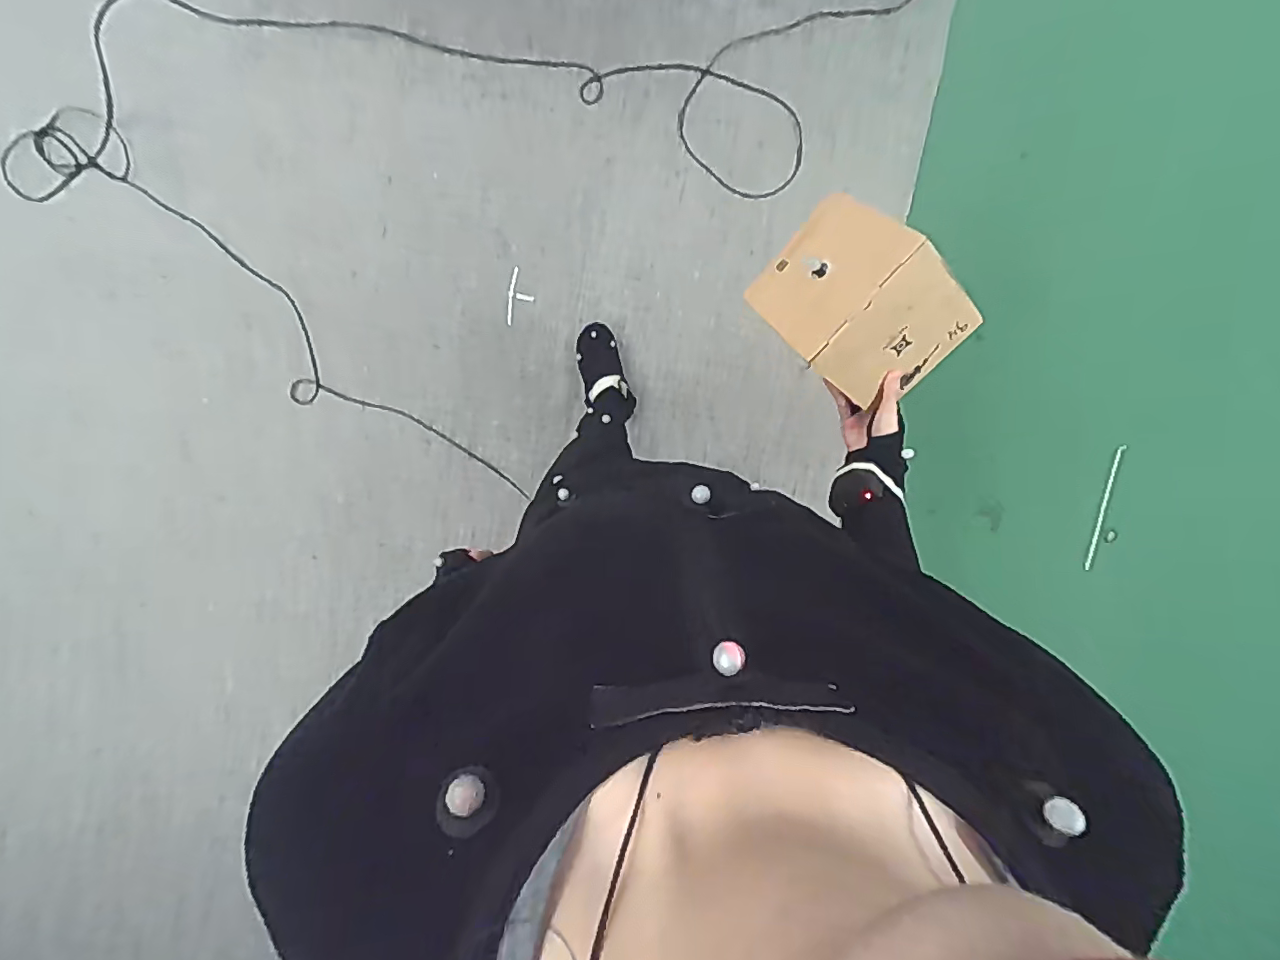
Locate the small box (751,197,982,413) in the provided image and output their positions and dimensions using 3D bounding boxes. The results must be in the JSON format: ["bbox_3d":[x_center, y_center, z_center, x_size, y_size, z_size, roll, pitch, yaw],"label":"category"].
[{"bbox_3d":[0.271,-0.220,0.674,0.179,0.176,0.168,23,120,-39],"label":"small box"}]
